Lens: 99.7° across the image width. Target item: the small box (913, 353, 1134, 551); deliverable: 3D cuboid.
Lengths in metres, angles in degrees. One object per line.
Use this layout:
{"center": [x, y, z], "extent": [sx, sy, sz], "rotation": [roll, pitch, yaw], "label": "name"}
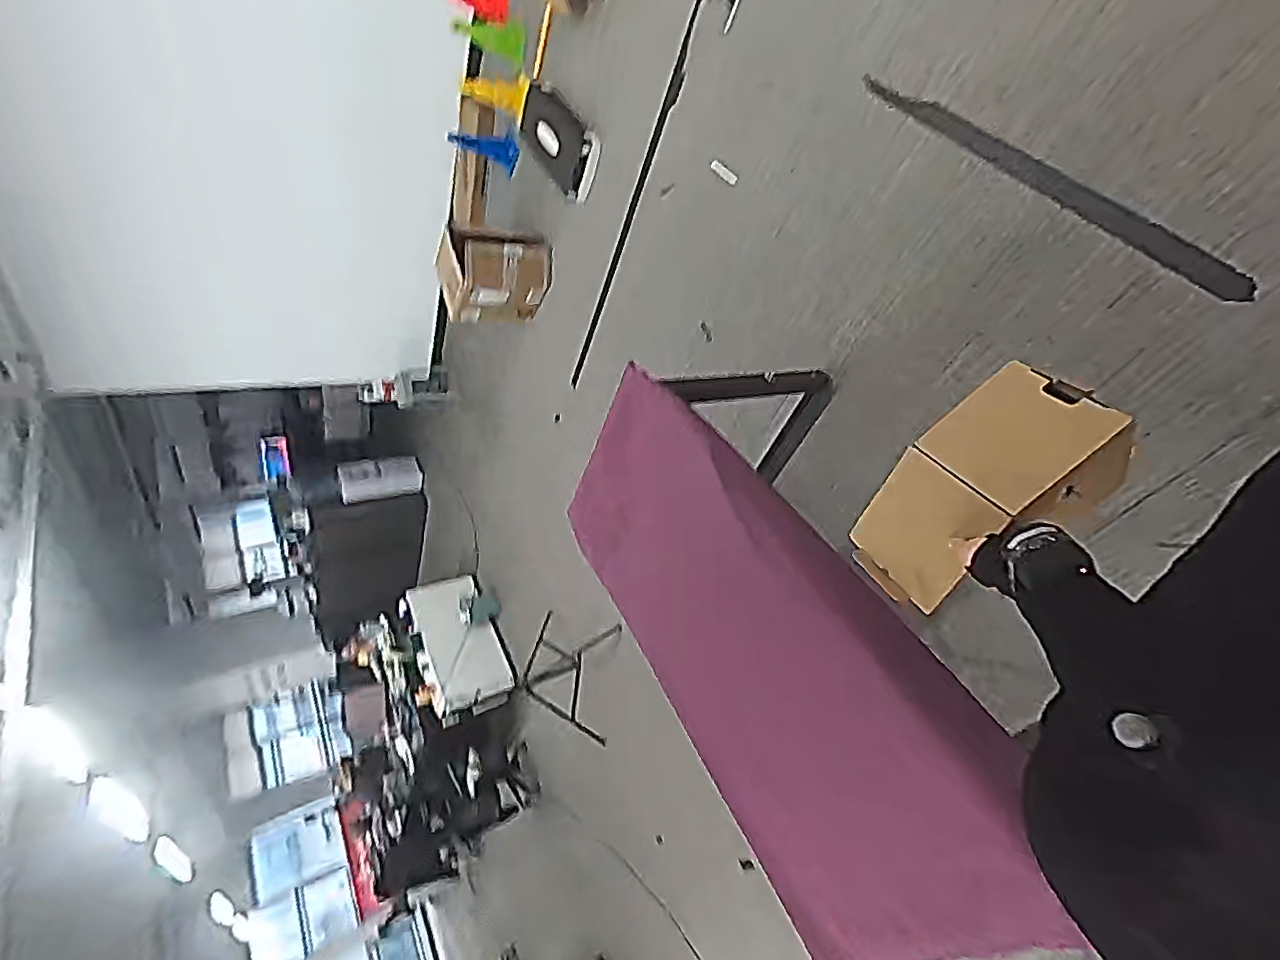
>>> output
{"center": [0.519, -0.031, 0.740], "extent": [0.179, 0.176, 0.168], "rotation": [-42, 46, 10], "label": "small box"}
